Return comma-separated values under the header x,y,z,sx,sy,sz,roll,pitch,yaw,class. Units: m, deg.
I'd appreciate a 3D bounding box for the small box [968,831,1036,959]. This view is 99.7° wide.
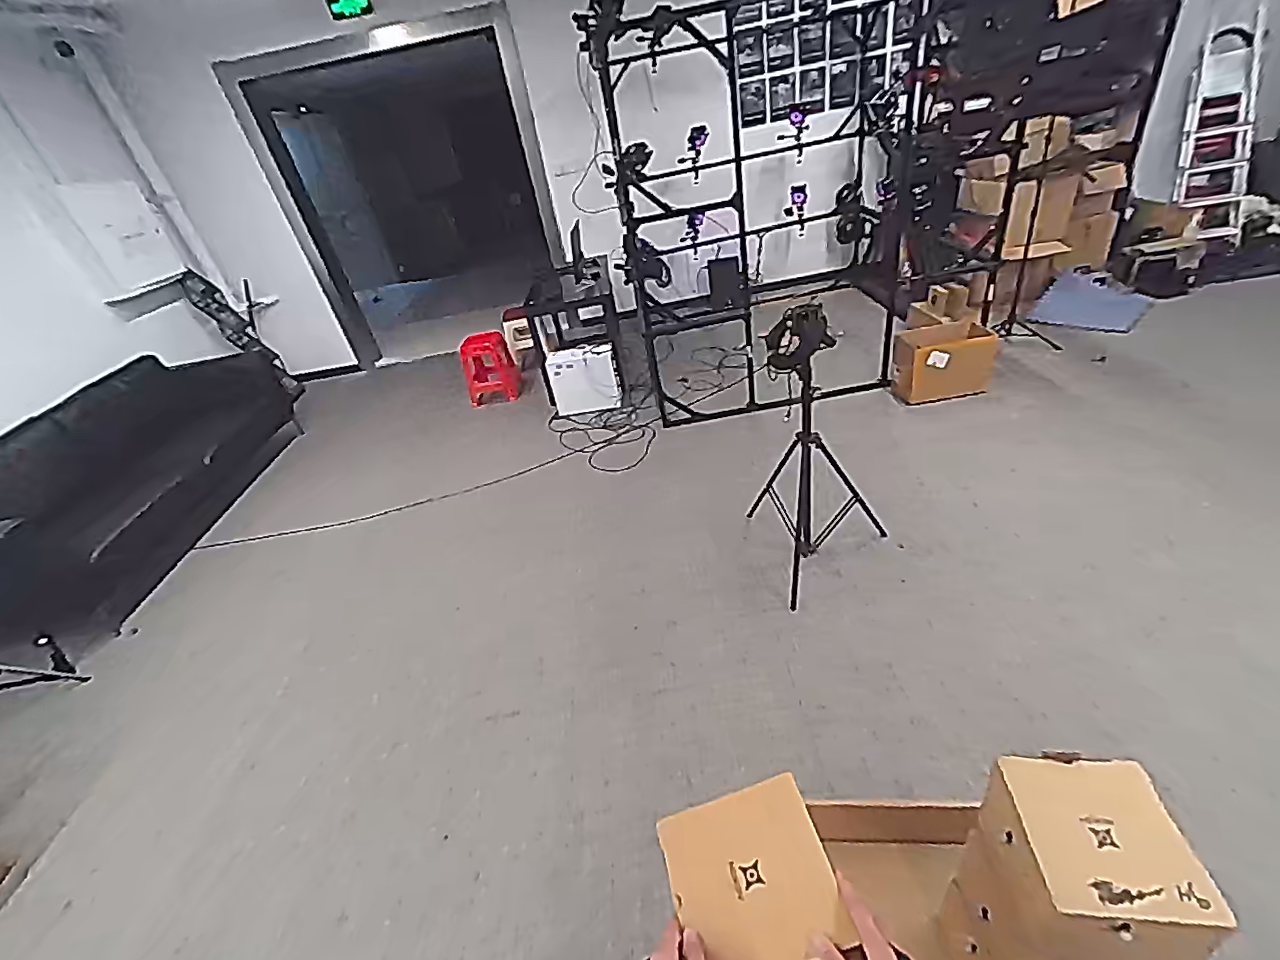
x,y,z,sx,sy,sz,roll,pitch,yaw,class
0.579,0.611,0.748,0.179,0.176,0.168,-8,33,8,small box

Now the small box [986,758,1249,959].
x,y,z,sx,sy,sz,roll,pitch,yaw,class
0.551,0.474,0.662,0.168,0.176,0.179,-5,33,14,small box

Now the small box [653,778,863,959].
x,y,z,sx,sy,sz,roll,pitch,yaw,class
0.135,0.481,0.621,0.179,0.176,0.168,-23,39,2,small box
